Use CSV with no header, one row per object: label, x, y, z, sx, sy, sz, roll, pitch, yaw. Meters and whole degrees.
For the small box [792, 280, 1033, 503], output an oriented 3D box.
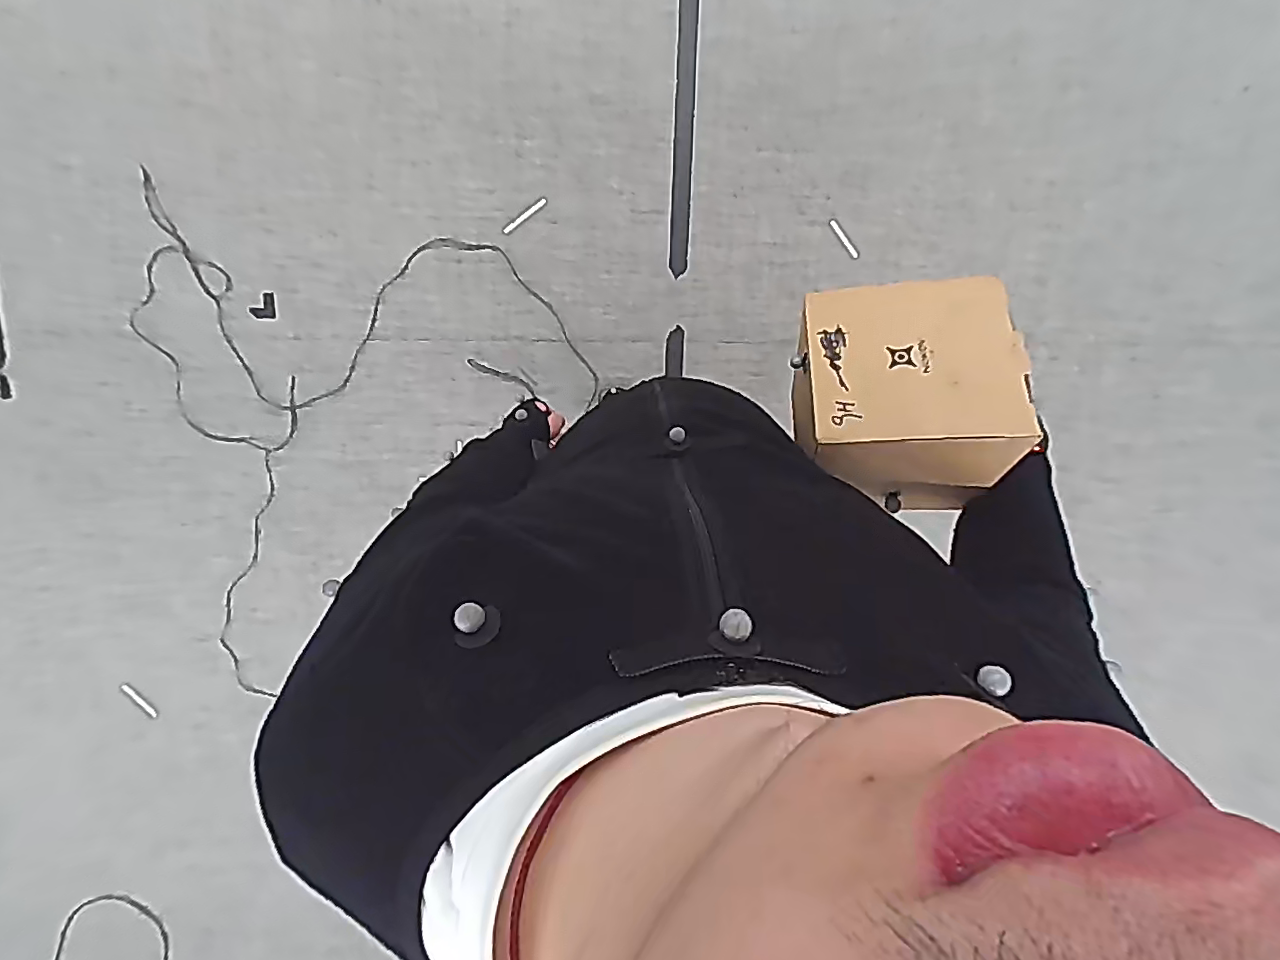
small box,0.259,-0.081,0.564,0.179,0.176,0.168,-1,66,11
